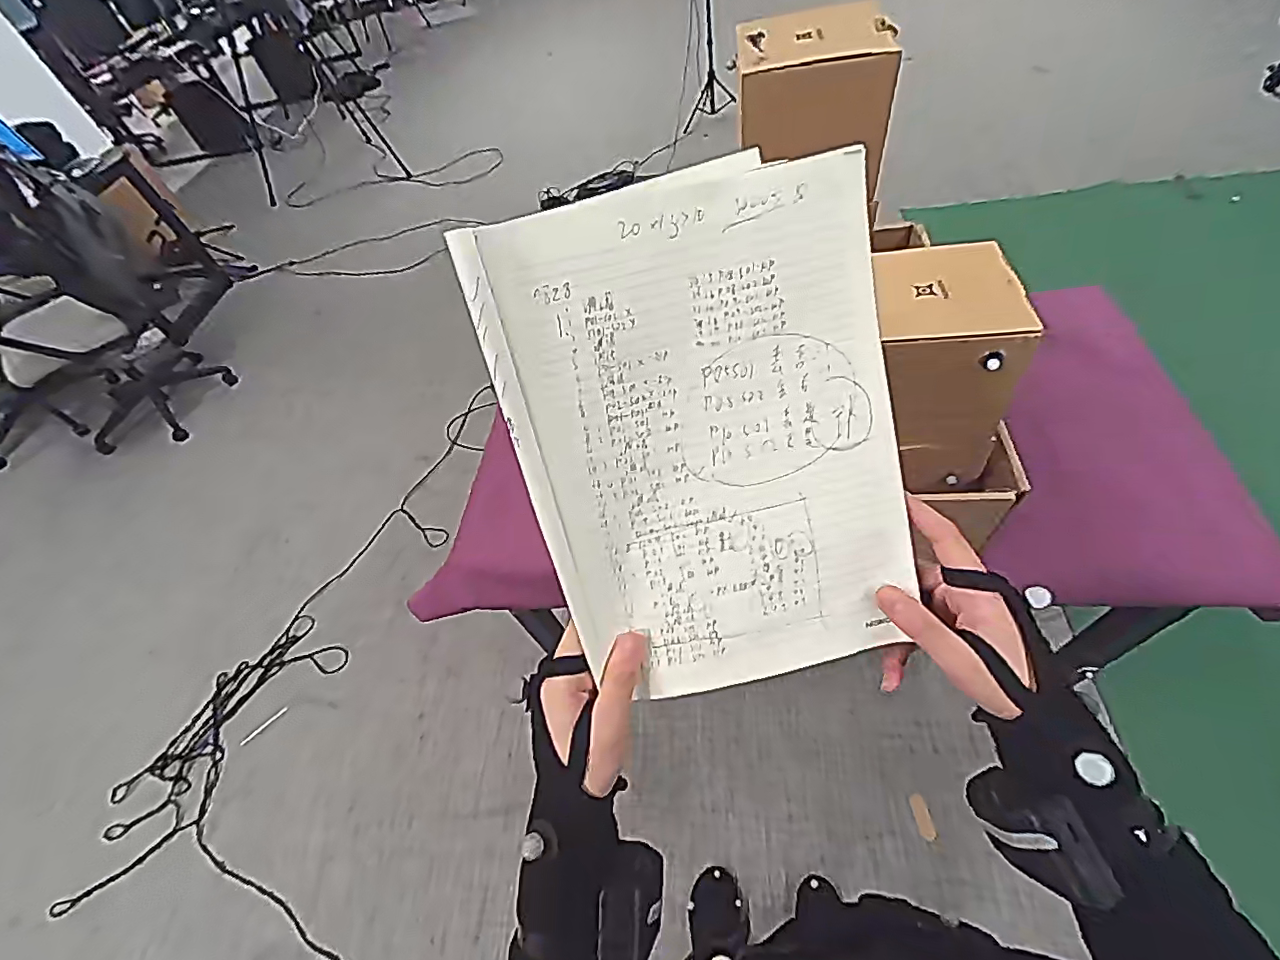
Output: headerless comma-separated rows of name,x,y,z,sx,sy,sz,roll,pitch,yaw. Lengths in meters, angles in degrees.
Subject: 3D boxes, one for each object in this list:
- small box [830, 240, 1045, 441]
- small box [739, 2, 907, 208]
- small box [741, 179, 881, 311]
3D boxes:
small box,0.329,-0.159,0.647,0.179,0.176,0.168,-1,52,11
small box,0.222,-0.483,0.708,0.179,0.176,0.168,-1,54,9
small box,0.250,-0.385,0.837,0.179,0.176,0.168,-3,54,9
